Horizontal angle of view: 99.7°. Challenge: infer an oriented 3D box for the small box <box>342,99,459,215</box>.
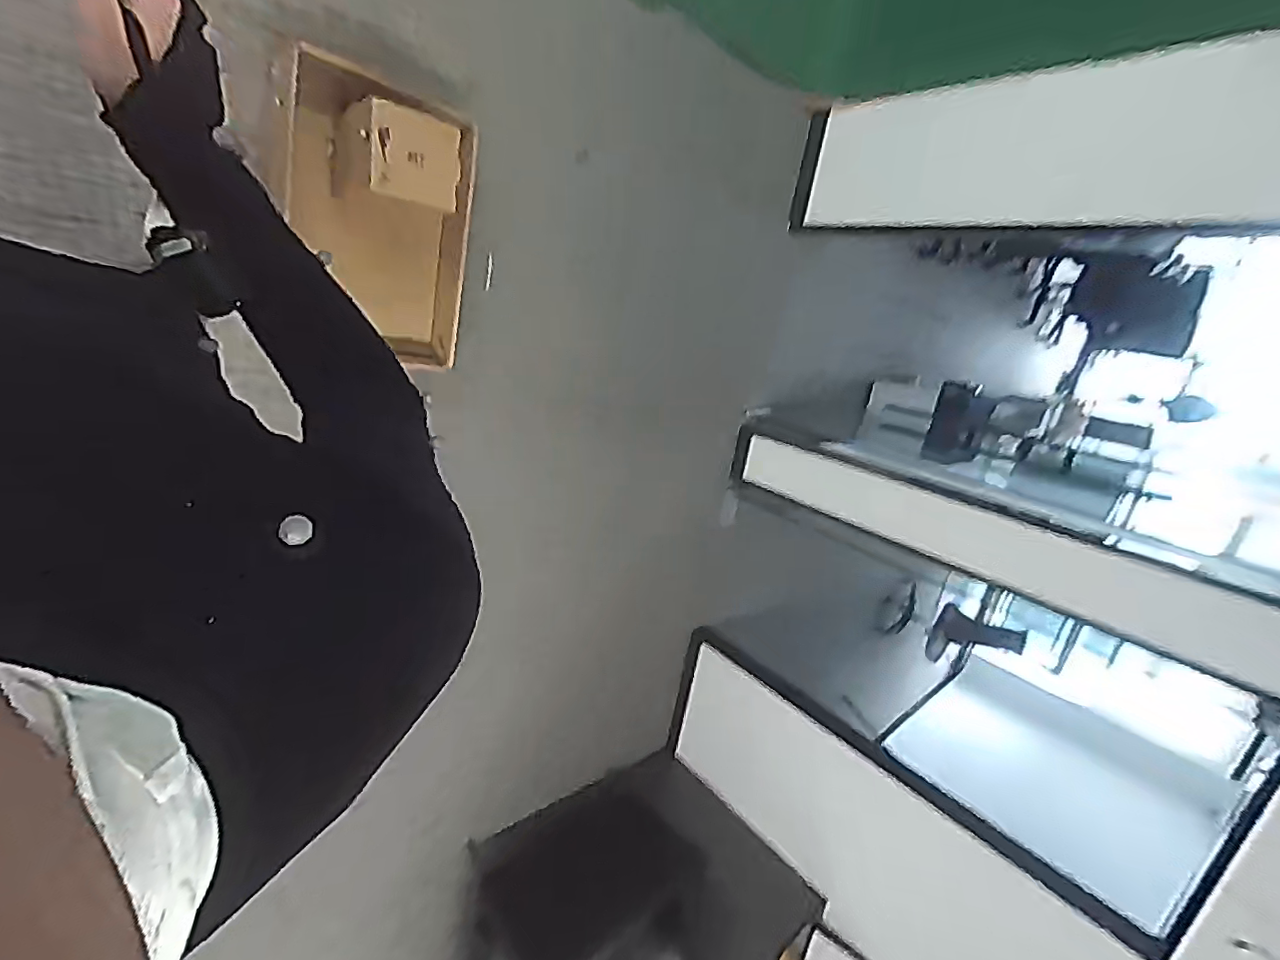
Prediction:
[{"bbox_3d":[-0.512,-0.678,1.150,0.179,0.176,0.168,-5,113,-43],"label":"small box"}]
